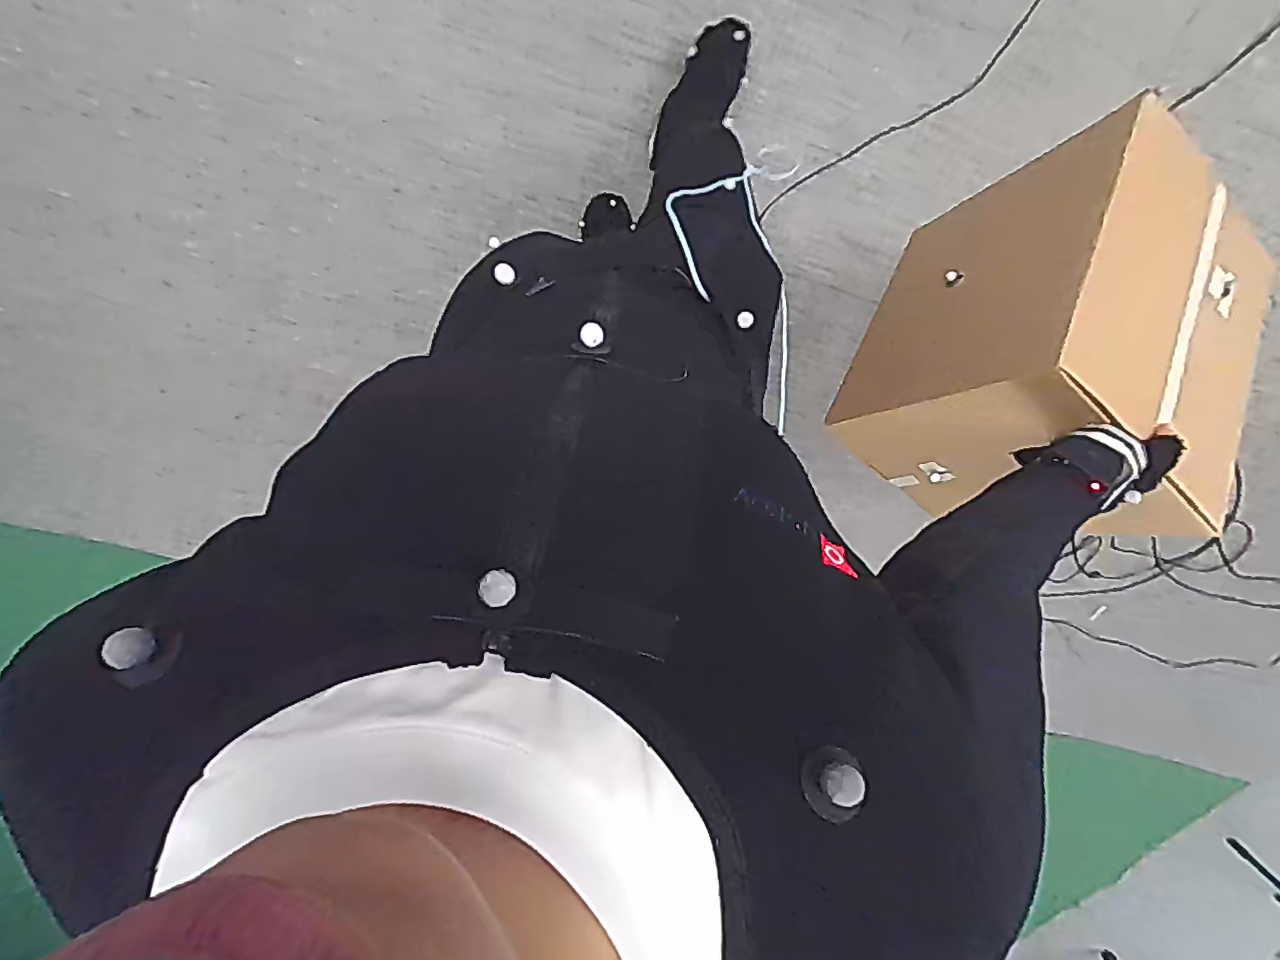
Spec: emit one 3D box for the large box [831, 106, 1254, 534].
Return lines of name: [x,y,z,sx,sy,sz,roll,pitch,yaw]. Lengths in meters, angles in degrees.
large box: [0.535,-0.171,0.745,0.320,0.320,0.408,35,72,-17]
